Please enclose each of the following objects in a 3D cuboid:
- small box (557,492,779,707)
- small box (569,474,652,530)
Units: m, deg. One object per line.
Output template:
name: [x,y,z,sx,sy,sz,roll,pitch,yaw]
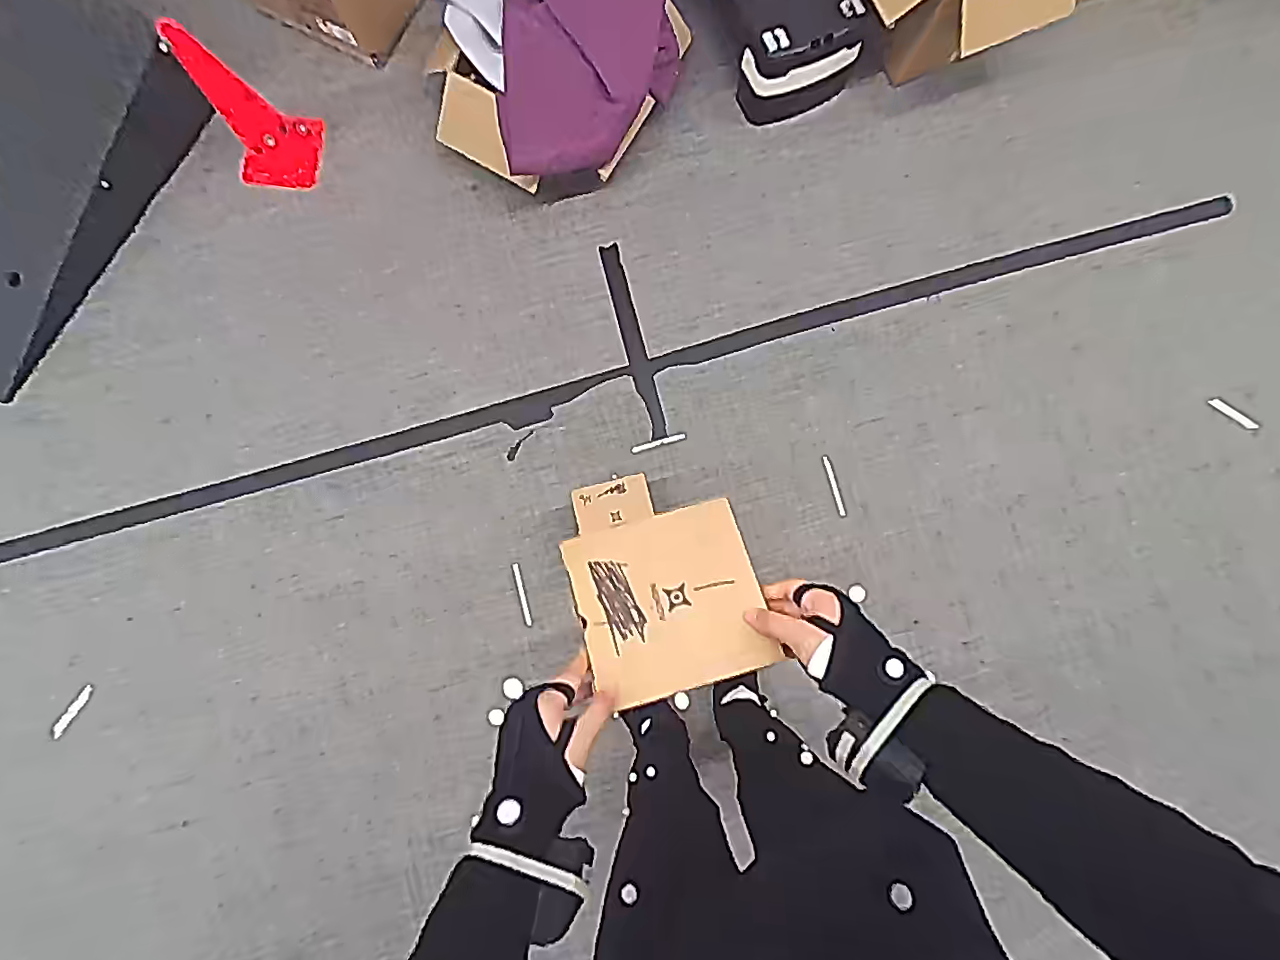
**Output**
small box: [0.024,0.134,0.577,0.179,0.176,0.168,-15,70,-5]
small box: [-0.052,0.095,1.225,0.168,0.176,0.179,-14,84,-1]
